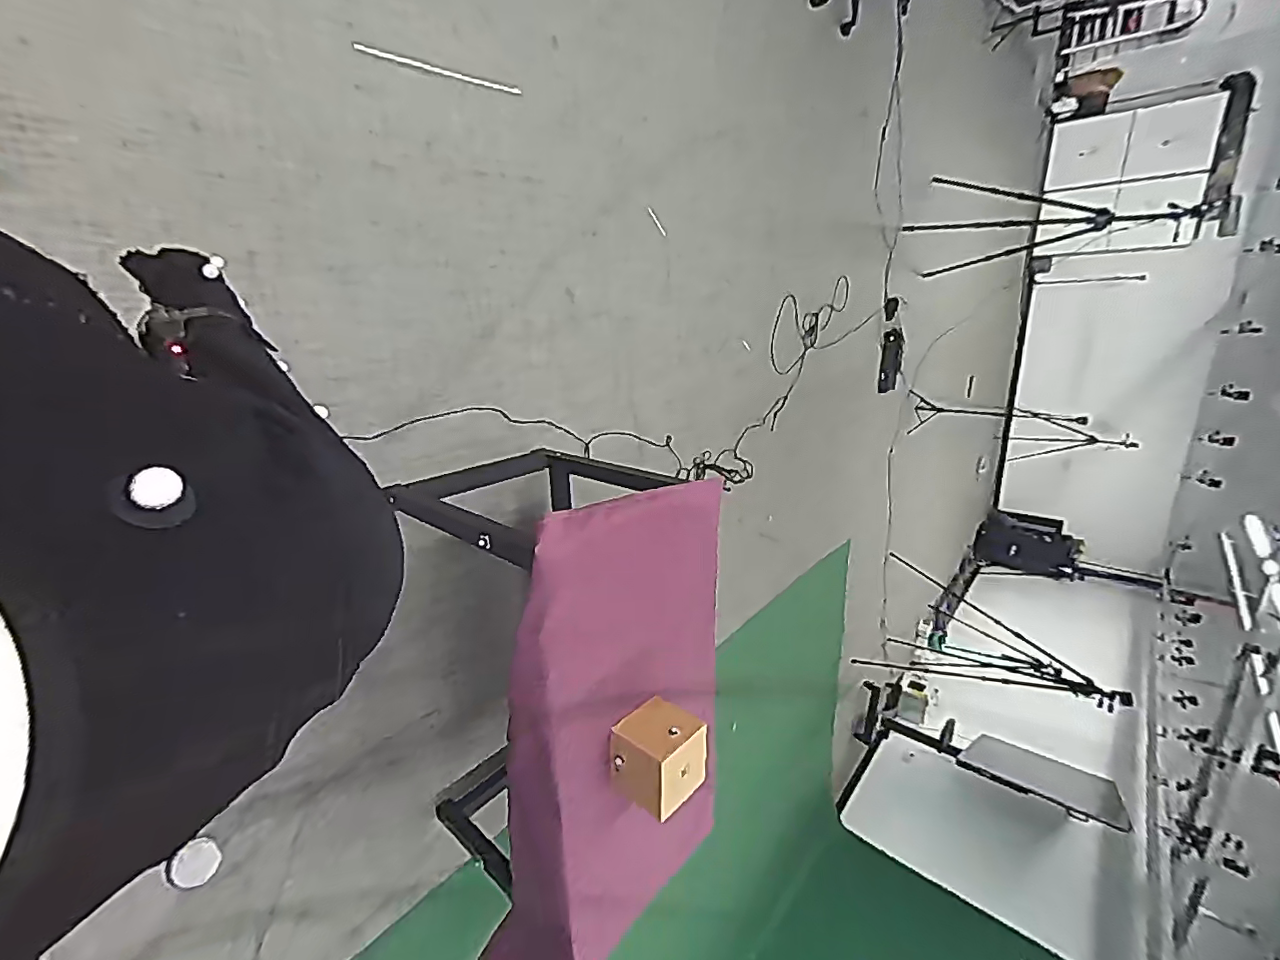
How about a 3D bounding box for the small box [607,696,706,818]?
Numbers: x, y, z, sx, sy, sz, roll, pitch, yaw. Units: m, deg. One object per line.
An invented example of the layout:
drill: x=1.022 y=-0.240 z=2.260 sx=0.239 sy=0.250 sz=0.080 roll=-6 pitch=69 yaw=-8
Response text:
small box: x=0.040 y=0.659 z=1.315 sx=0.179 sy=0.176 sz=0.168 roll=-14 pitch=109 yaw=-46
